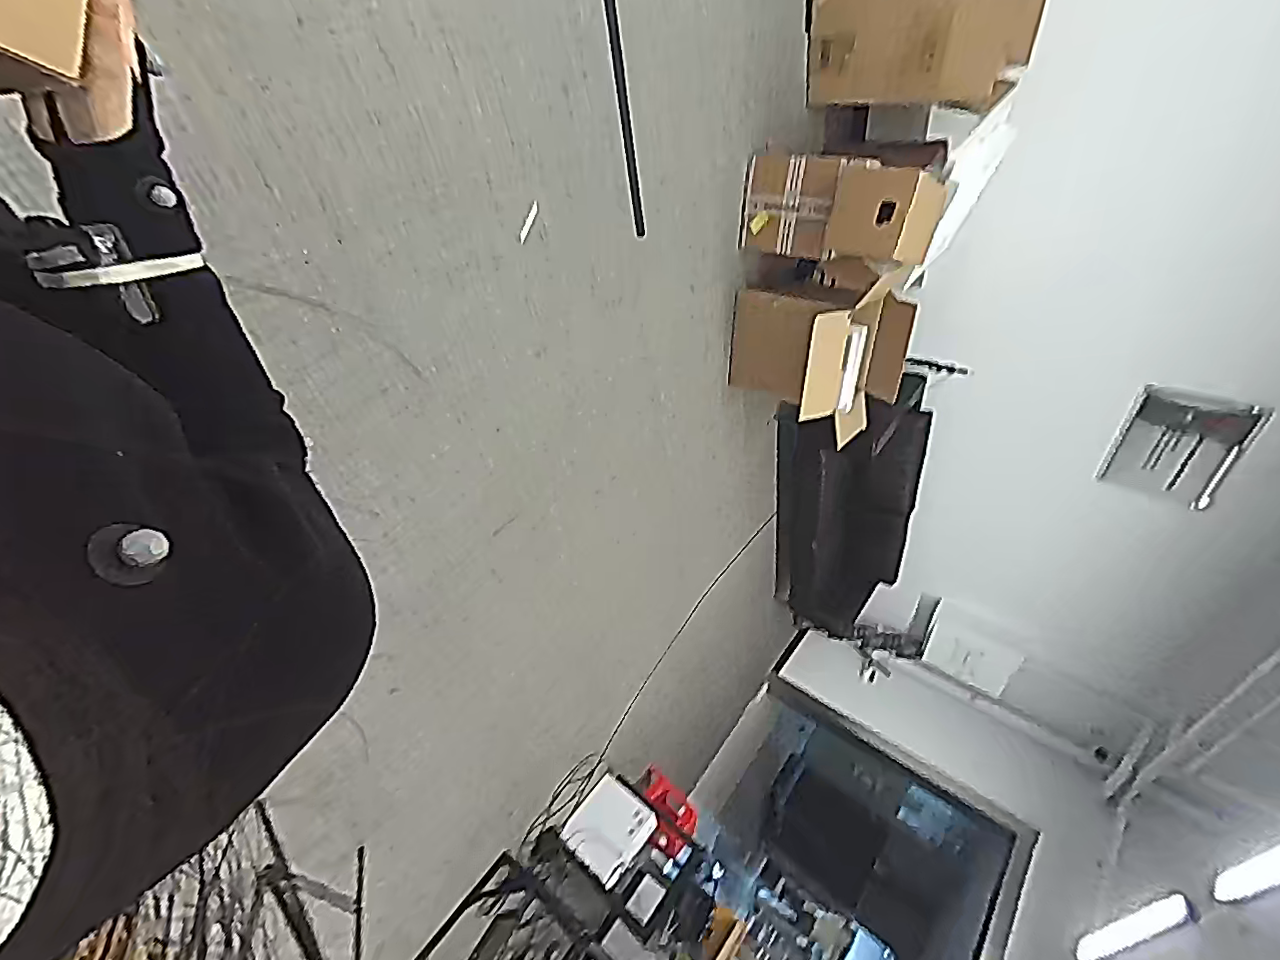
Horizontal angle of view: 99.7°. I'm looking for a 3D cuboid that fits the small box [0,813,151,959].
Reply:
[{"bbox_3d":[-0.543,0.403,0.421,0.168,0.176,0.179,-41,141,-35],"label":"small box"}]
